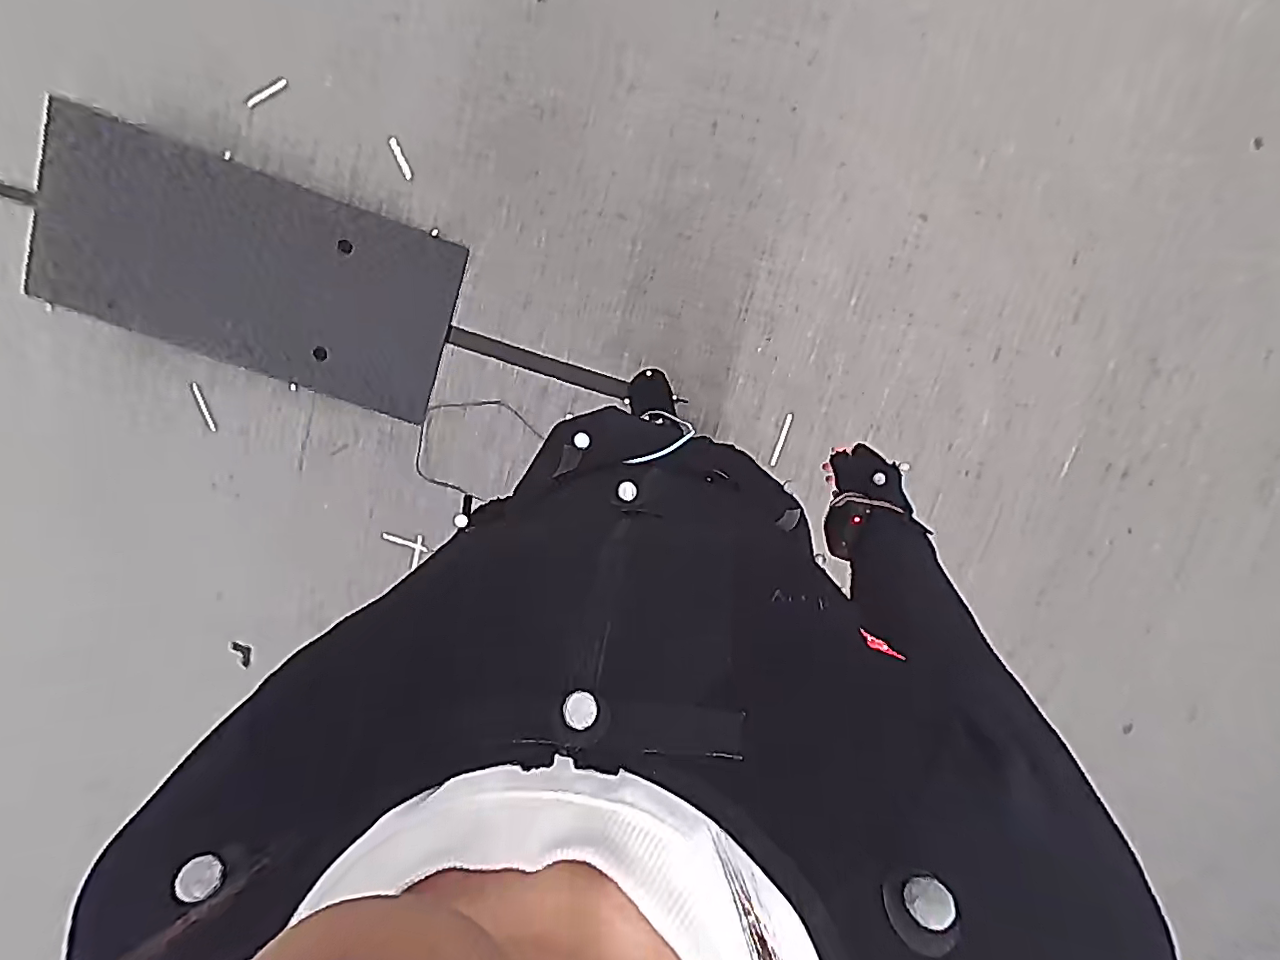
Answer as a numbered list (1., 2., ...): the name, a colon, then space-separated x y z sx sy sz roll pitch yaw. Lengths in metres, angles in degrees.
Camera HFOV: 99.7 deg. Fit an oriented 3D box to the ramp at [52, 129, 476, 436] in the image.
1. ramp: -0.976 -0.494 1.420 0.991 0.206 0.509 17 98 4
